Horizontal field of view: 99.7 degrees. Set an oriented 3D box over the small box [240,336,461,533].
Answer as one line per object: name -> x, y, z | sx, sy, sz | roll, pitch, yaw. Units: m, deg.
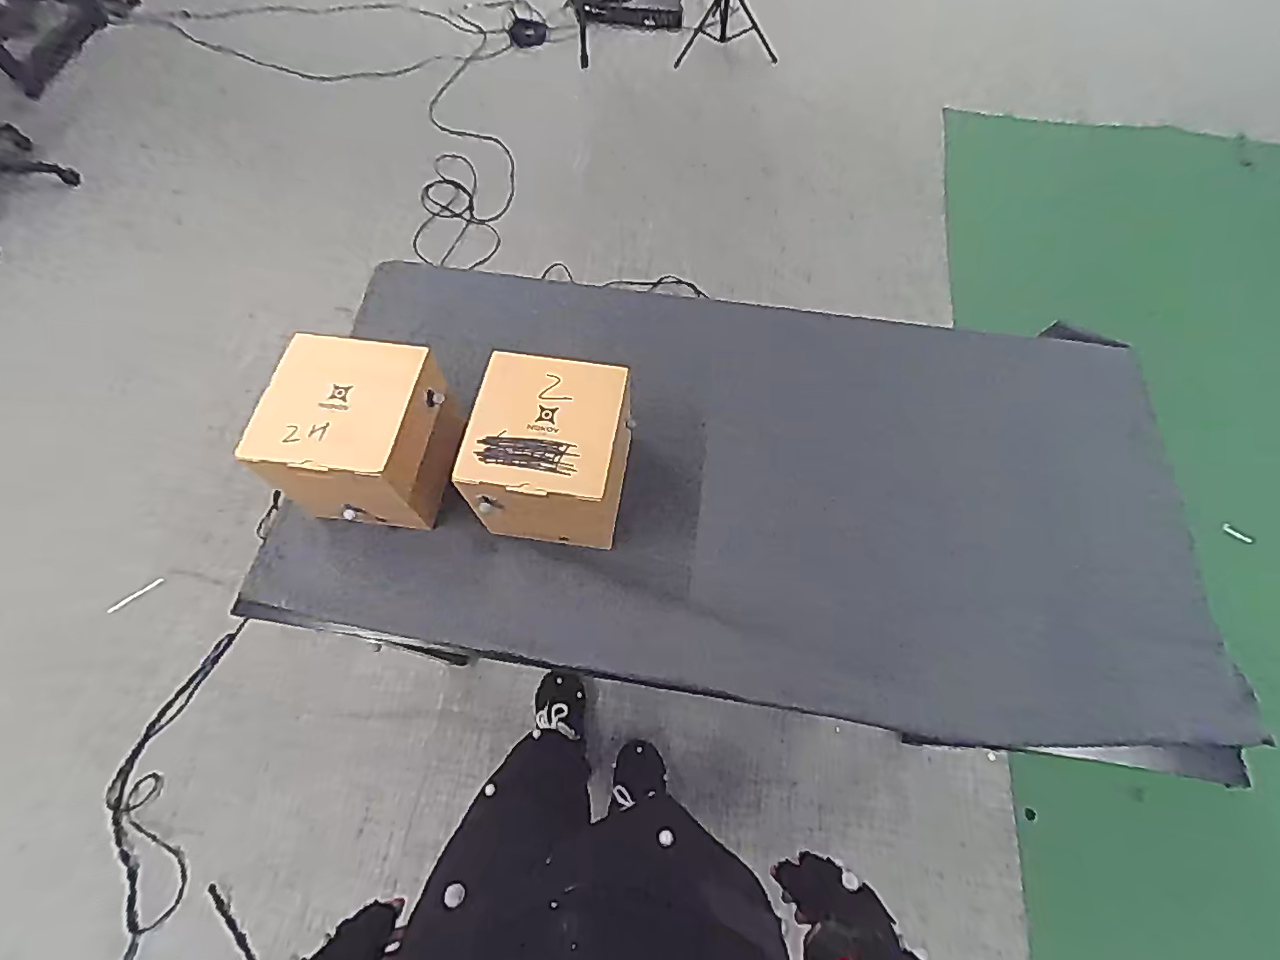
small box -> -0.341, -0.052, 0.683 | 0.168, 0.176, 0.179 | 7, 64, 2
